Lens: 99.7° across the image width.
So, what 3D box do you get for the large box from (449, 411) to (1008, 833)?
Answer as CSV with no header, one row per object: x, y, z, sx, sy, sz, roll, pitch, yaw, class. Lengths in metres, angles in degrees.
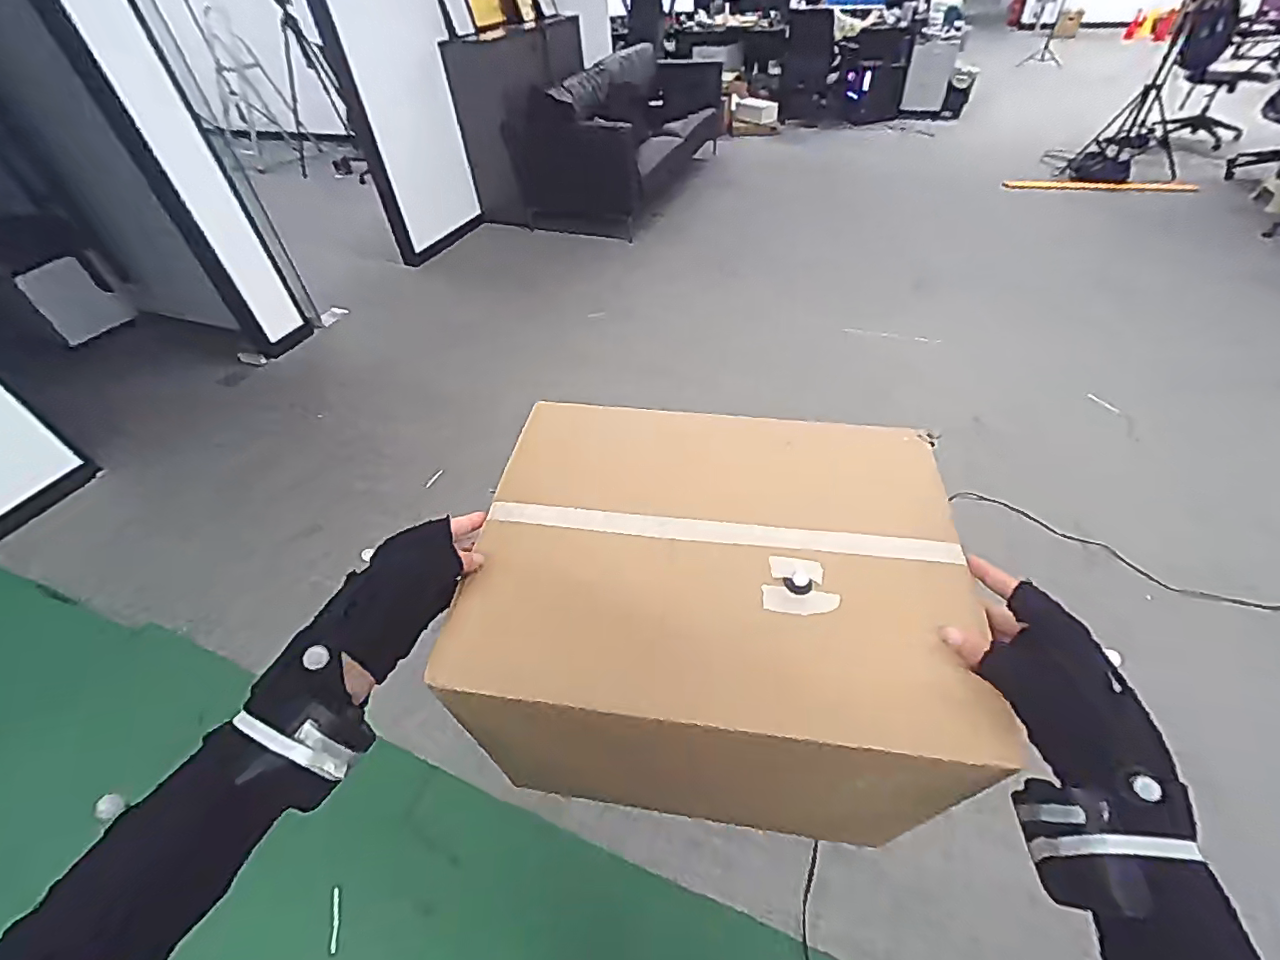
0.072,0.152,0.588,0.408,0.320,0.320,6,49,6,large box
